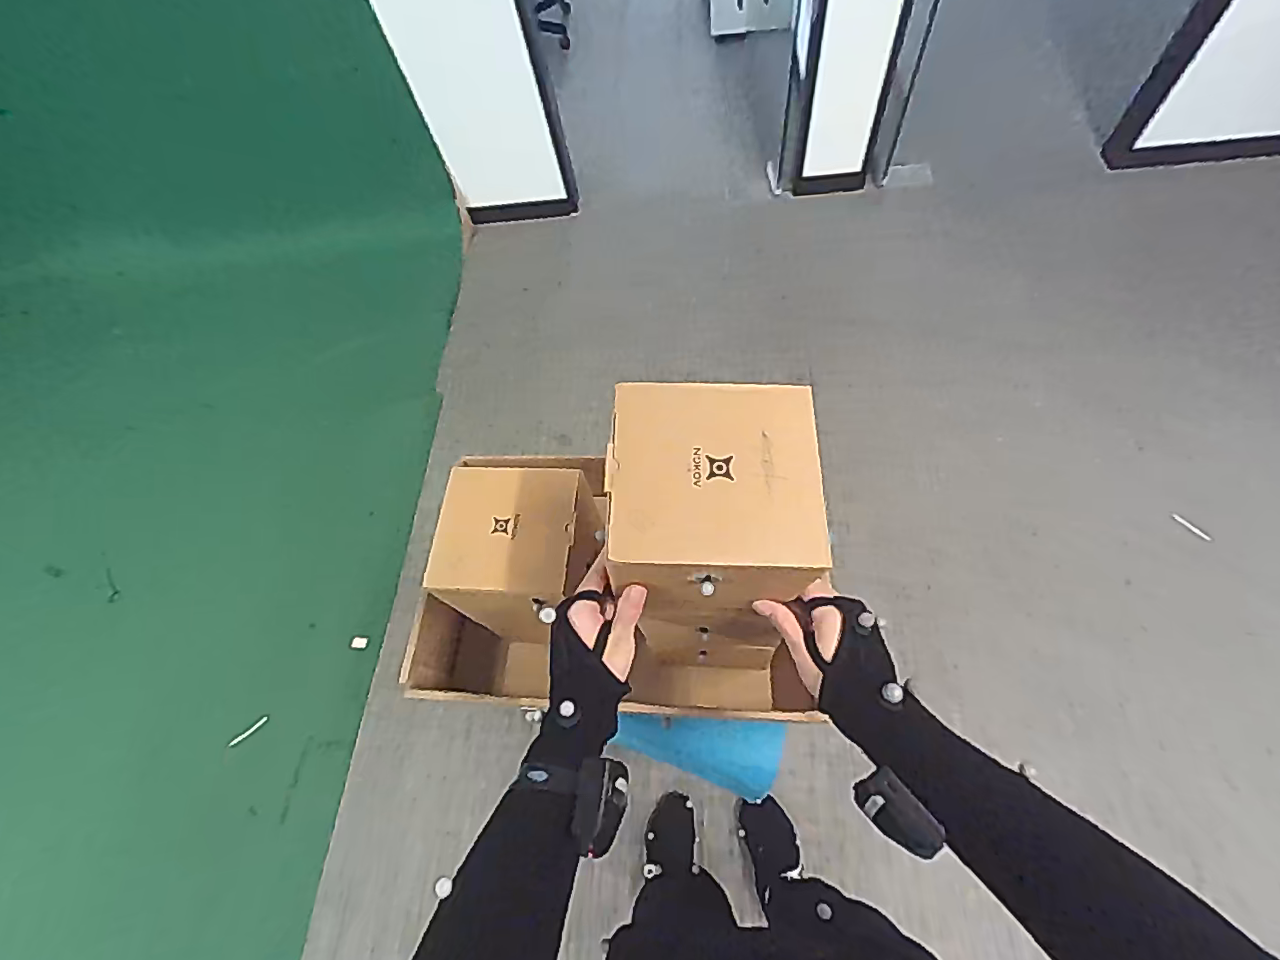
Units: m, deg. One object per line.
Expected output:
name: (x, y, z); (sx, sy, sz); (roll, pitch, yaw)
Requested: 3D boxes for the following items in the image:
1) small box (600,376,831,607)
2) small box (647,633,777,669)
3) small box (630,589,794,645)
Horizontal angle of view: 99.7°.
small box: (0.062, 0.020, 0.508); (0.179, 0.176, 0.168); (2, 66, 2)
small box: (0.115, 0.186, 0.823); (0.179, 0.176, 0.168); (0, 62, 10)
small box: (0.092, 0.107, 0.682); (0.179, 0.176, 0.168); (-1, 61, 10)
